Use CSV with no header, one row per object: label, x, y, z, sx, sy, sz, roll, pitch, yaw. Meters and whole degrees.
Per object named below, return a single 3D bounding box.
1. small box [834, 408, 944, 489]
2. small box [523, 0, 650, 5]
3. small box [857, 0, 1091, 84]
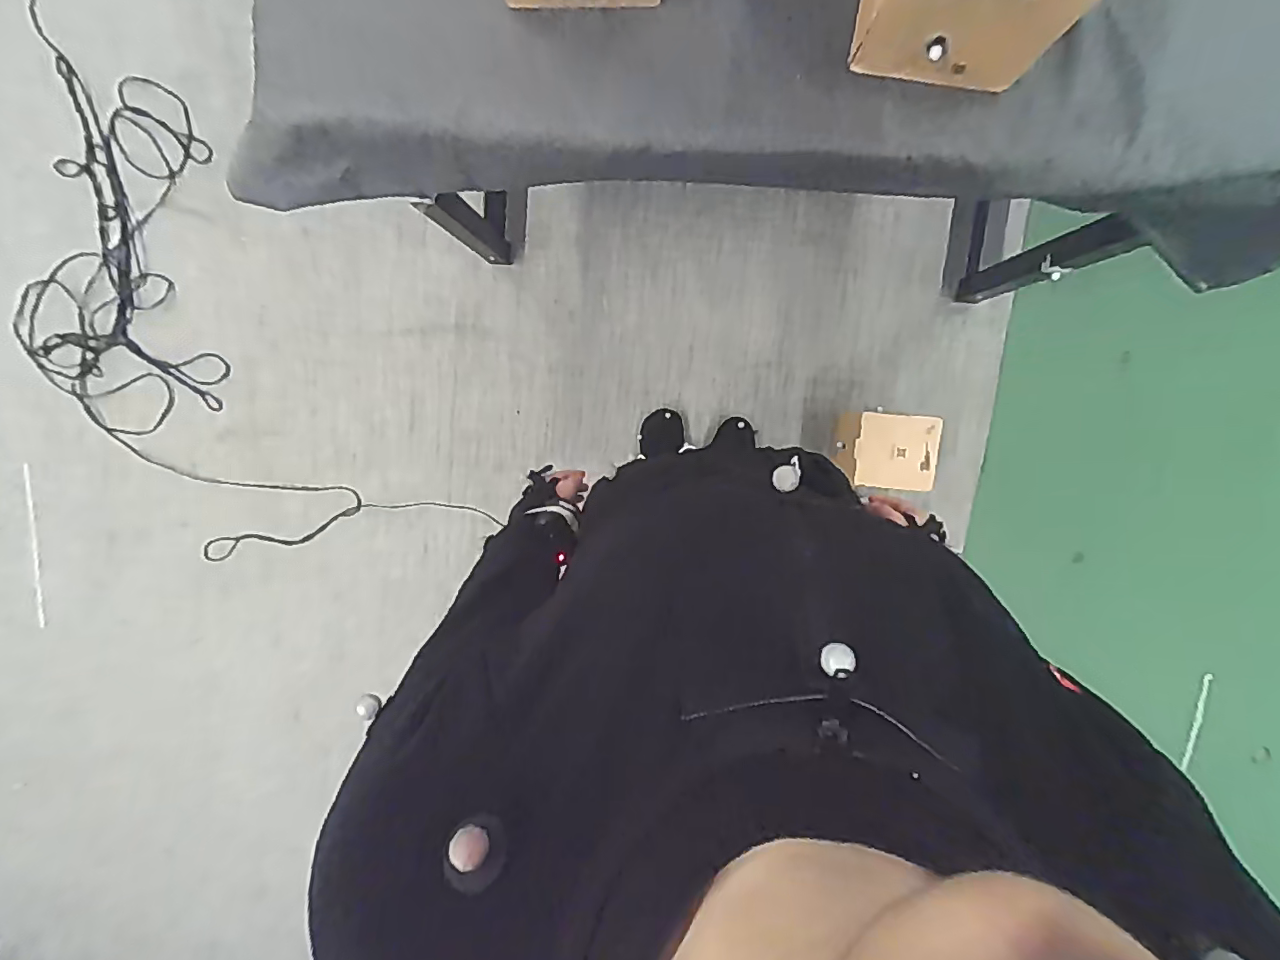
small box,0.566,-0.077,1.255,0.179,0.176,0.168,5,97,3
small box,-0.060,-0.583,0.483,0.168,0.176,0.179,2,99,3
small box,0.311,-0.500,0.475,0.168,0.176,0.179,9,98,2
